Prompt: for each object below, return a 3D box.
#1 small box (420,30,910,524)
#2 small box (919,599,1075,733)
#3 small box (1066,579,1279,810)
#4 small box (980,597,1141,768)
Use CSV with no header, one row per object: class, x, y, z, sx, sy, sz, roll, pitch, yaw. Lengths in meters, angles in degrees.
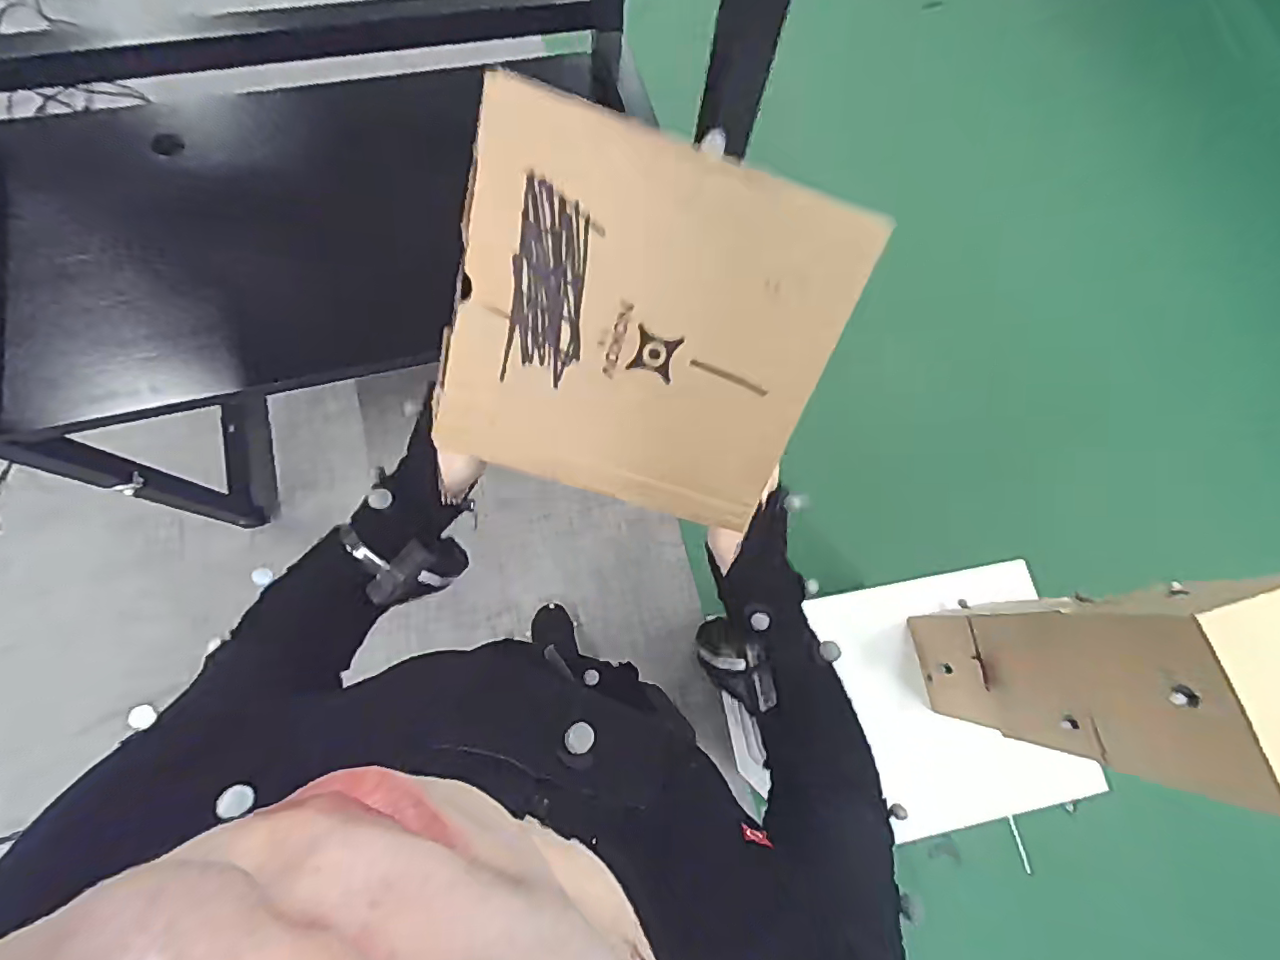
small box,0.002,-0.105,0.307,0.179,0.176,0.168,16,118,-7
small box,0.577,0.289,0.863,0.179,0.176,0.168,-8,76,-6
small box,0.592,0.204,0.547,0.168,0.176,0.179,-13,77,-7
small box,0.587,0.251,0.706,0.168,0.176,0.179,-6,76,-6
